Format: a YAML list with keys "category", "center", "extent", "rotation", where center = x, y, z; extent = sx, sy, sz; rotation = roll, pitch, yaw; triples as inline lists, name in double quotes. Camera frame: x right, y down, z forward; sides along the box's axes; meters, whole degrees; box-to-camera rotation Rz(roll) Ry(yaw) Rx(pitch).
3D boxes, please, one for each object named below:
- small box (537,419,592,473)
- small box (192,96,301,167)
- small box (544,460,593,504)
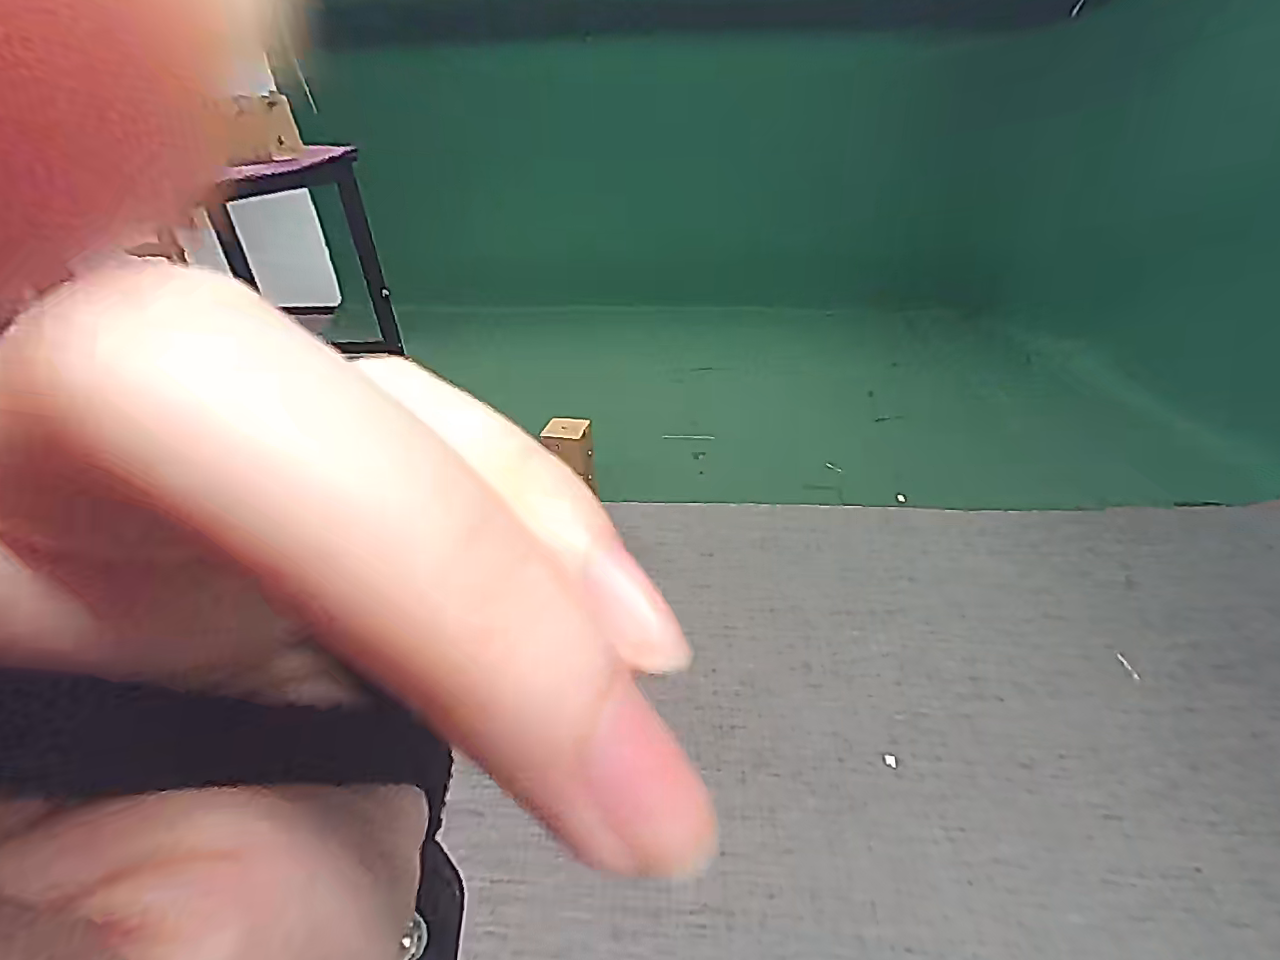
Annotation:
- category: "small box"
  center: [-0.314, -0.143, 2.268]
  extent: [0.179, 0.176, 0.168]
  rotation: [5, 34, 12]
- category: "small box"
  center: [-1.186, -1.056, 1.643]
  extent: [0.179, 0.176, 0.168]
  rotation: [0, 35, 7]
- category: "small box"
  center: [-0.307, -0.011, 2.370]
  extent: [0.168, 0.176, 0.179]
  rotation: [4, 34, 10]
